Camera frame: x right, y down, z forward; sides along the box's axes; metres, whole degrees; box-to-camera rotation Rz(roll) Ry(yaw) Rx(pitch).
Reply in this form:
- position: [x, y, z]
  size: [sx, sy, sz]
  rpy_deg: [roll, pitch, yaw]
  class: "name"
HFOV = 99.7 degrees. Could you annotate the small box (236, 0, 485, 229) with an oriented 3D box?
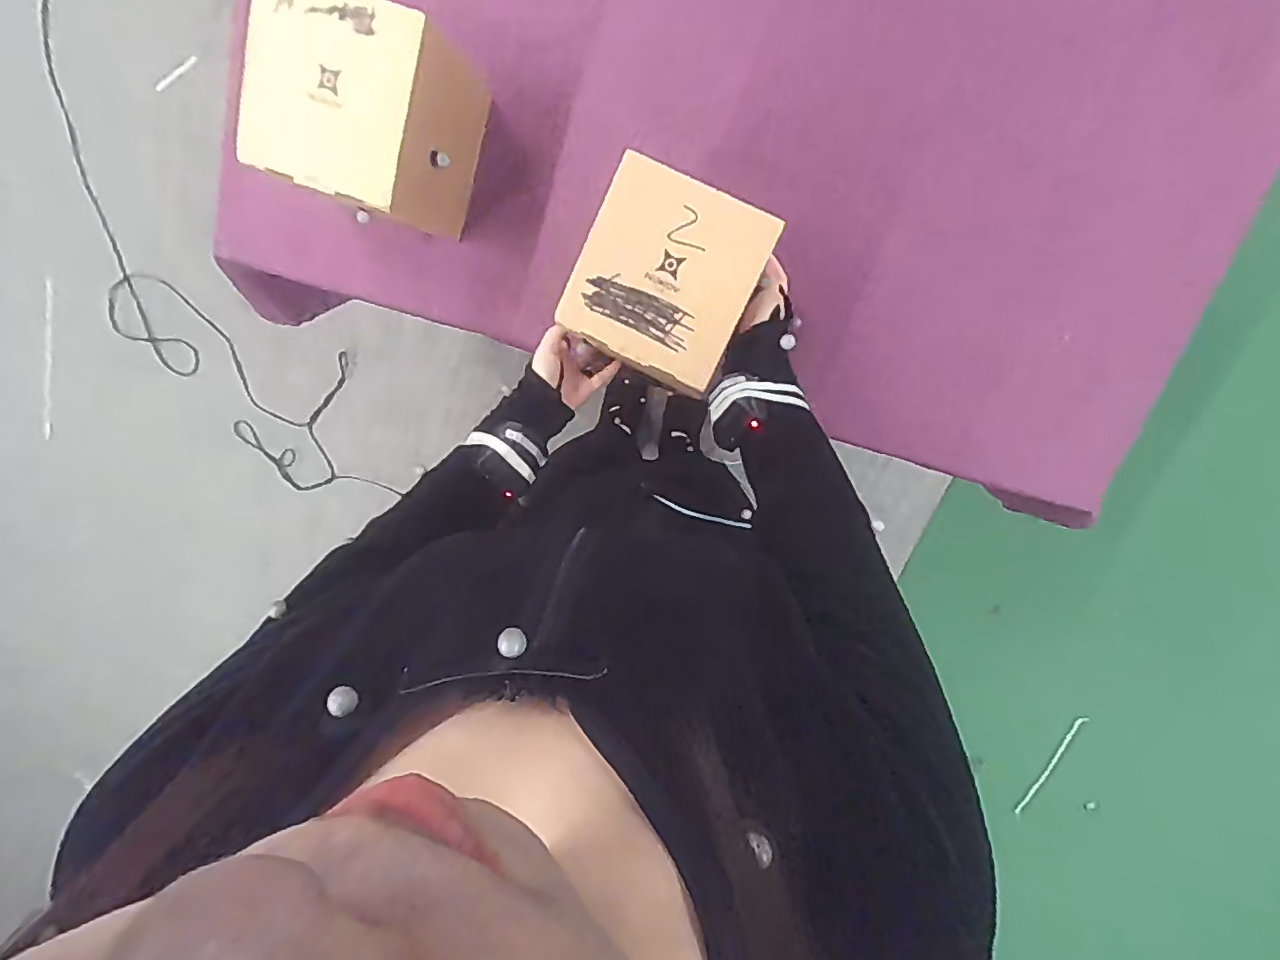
- position: [-0.287, -0.395, 0.586]
  size: [0.168, 0.176, 0.179]
  rpy_deg: [20, 106, -1]
  class: "small box"
